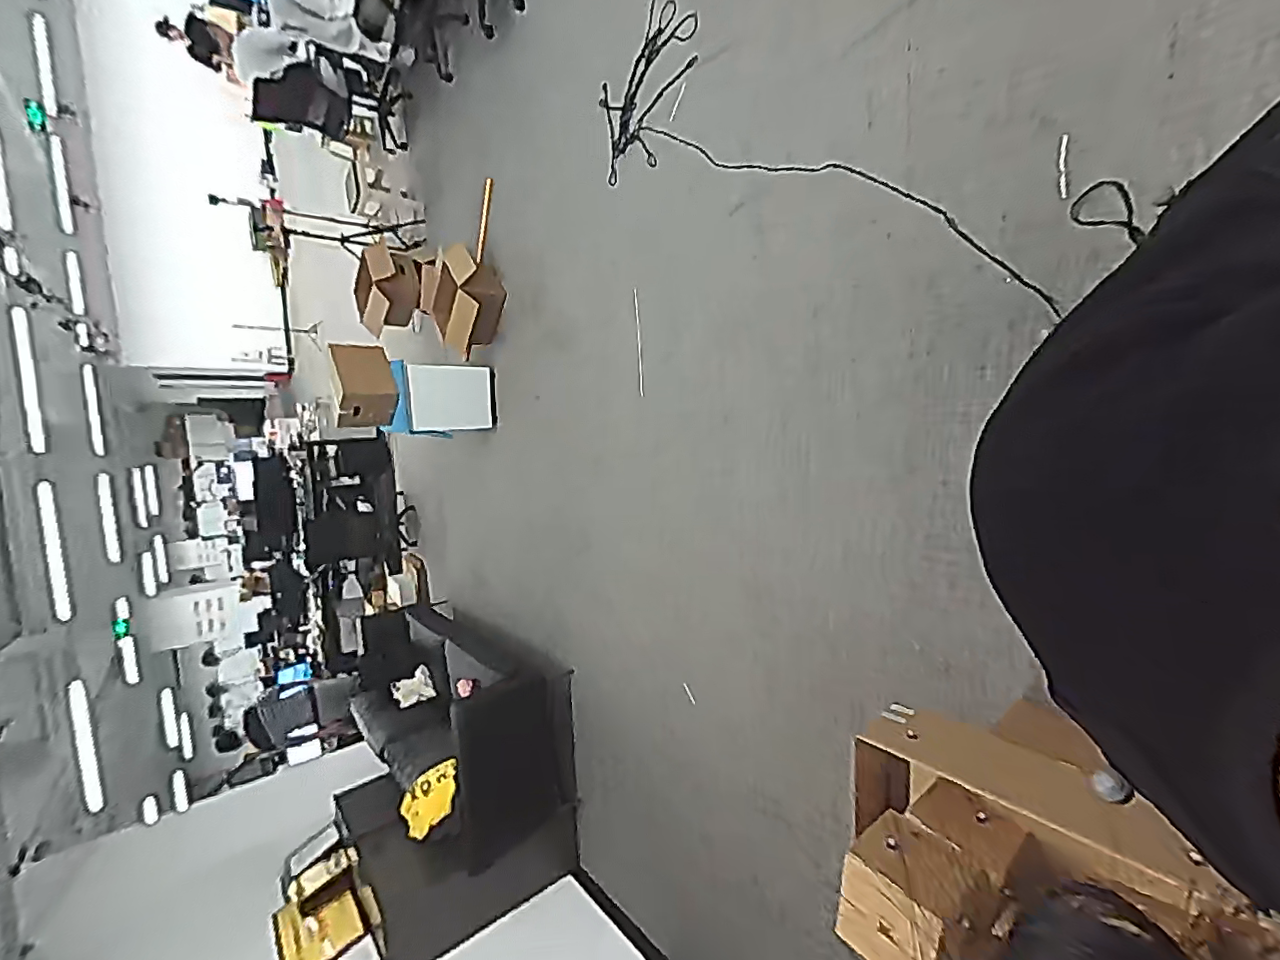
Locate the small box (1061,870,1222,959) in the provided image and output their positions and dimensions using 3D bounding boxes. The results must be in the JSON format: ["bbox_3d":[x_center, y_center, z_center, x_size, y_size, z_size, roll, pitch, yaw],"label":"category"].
[{"bbox_3d":[0.774,0.768,0.837,0.168,0.176,0.179,0,95,51],"label":"small box"}]

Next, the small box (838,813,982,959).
[{"bbox_3d":[0.475,0.736,0.950,0.168,0.176,0.179,15,107,51],"label":"small box"}]
